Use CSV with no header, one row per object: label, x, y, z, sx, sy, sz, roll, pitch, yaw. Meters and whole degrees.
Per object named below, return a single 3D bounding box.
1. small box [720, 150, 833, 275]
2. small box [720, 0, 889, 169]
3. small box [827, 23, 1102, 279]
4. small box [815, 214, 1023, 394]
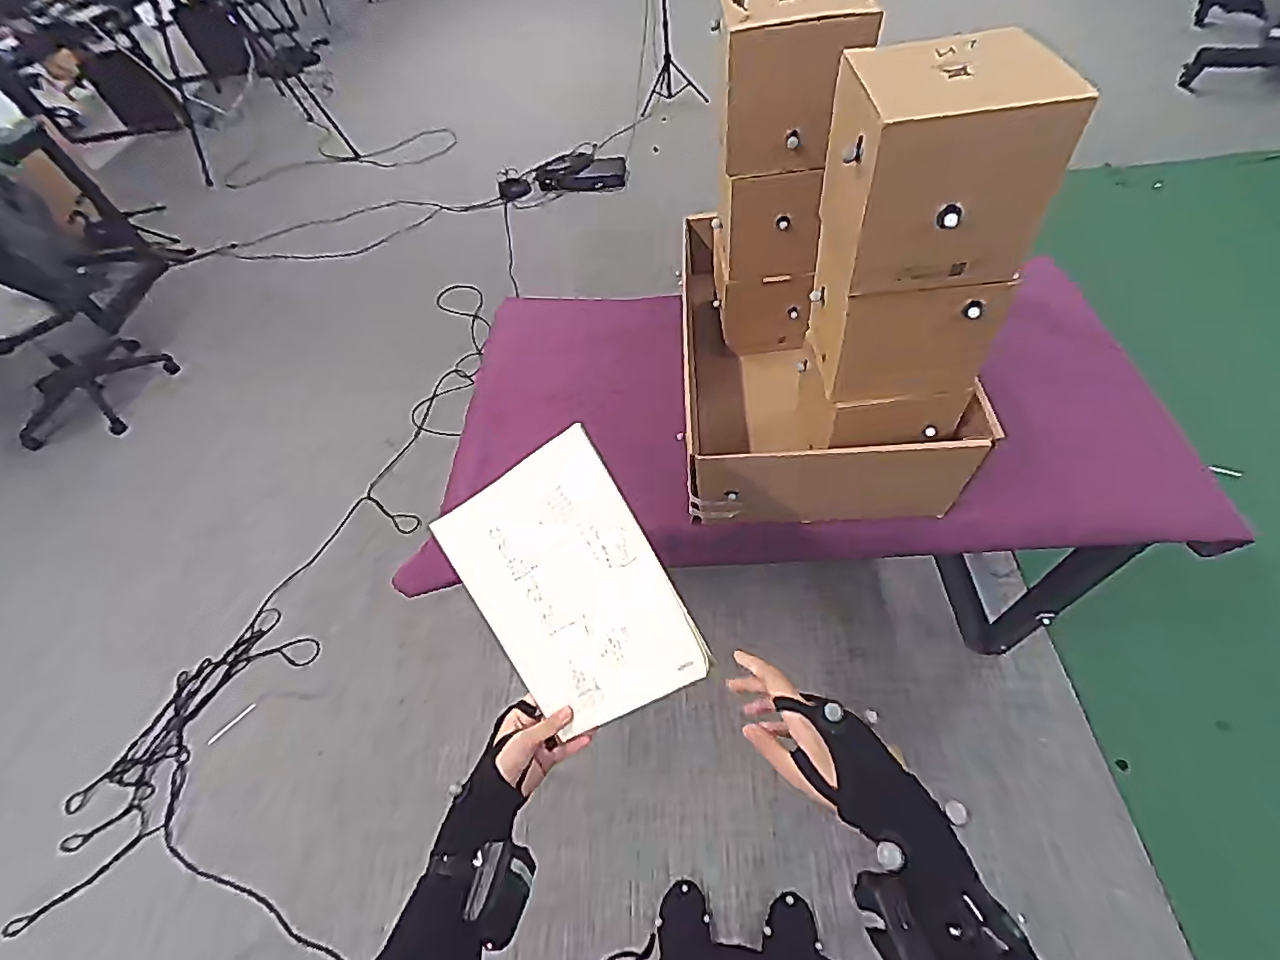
small box,0.223,-0.450,0.855,0.179,0.176,0.168,-5,55,5
small box,0.203,-0.544,0.723,0.179,0.176,0.168,-2,56,5
small box,0.296,-0.320,0.545,0.168,0.176,0.179,-3,53,6
small box,0.323,-0.223,0.676,0.179,0.176,0.168,-3,53,7
